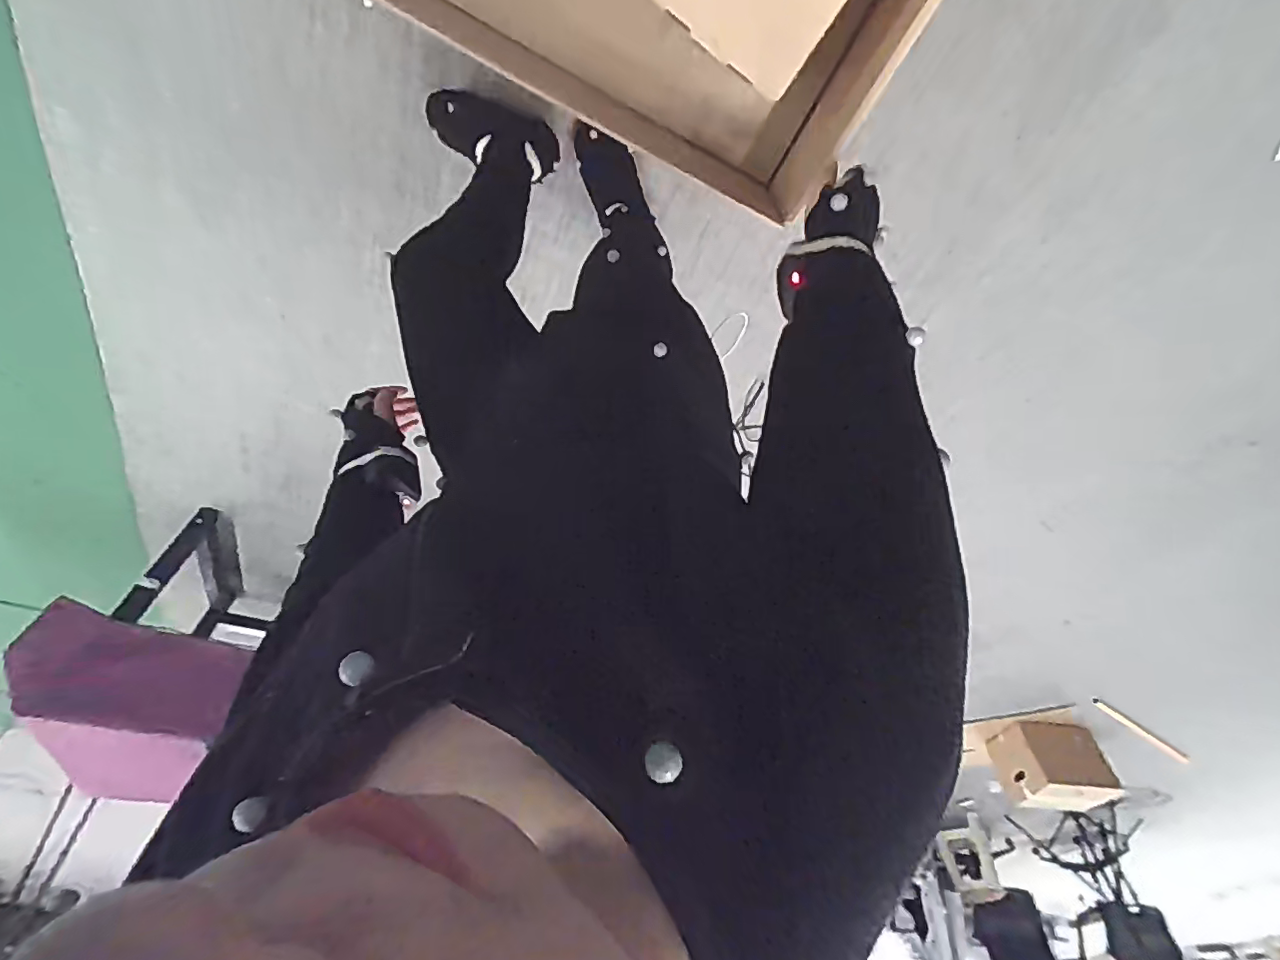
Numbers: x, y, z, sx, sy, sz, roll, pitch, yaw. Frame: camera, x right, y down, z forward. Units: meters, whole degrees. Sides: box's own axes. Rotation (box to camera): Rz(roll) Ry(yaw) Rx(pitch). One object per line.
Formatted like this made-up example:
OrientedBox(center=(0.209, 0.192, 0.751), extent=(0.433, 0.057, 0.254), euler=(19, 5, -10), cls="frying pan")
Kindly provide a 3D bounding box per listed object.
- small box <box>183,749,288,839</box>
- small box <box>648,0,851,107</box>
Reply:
OrientedBox(center=(-1.084, 0.850, 1.467), extent=(0.179, 0.176, 0.168), euler=(19, 130, -16), cls="small box")
OrientedBox(center=(0.117, -0.513, 0.521), extent=(0.168, 0.176, 0.179), euler=(25, 129, -22), cls="small box")
